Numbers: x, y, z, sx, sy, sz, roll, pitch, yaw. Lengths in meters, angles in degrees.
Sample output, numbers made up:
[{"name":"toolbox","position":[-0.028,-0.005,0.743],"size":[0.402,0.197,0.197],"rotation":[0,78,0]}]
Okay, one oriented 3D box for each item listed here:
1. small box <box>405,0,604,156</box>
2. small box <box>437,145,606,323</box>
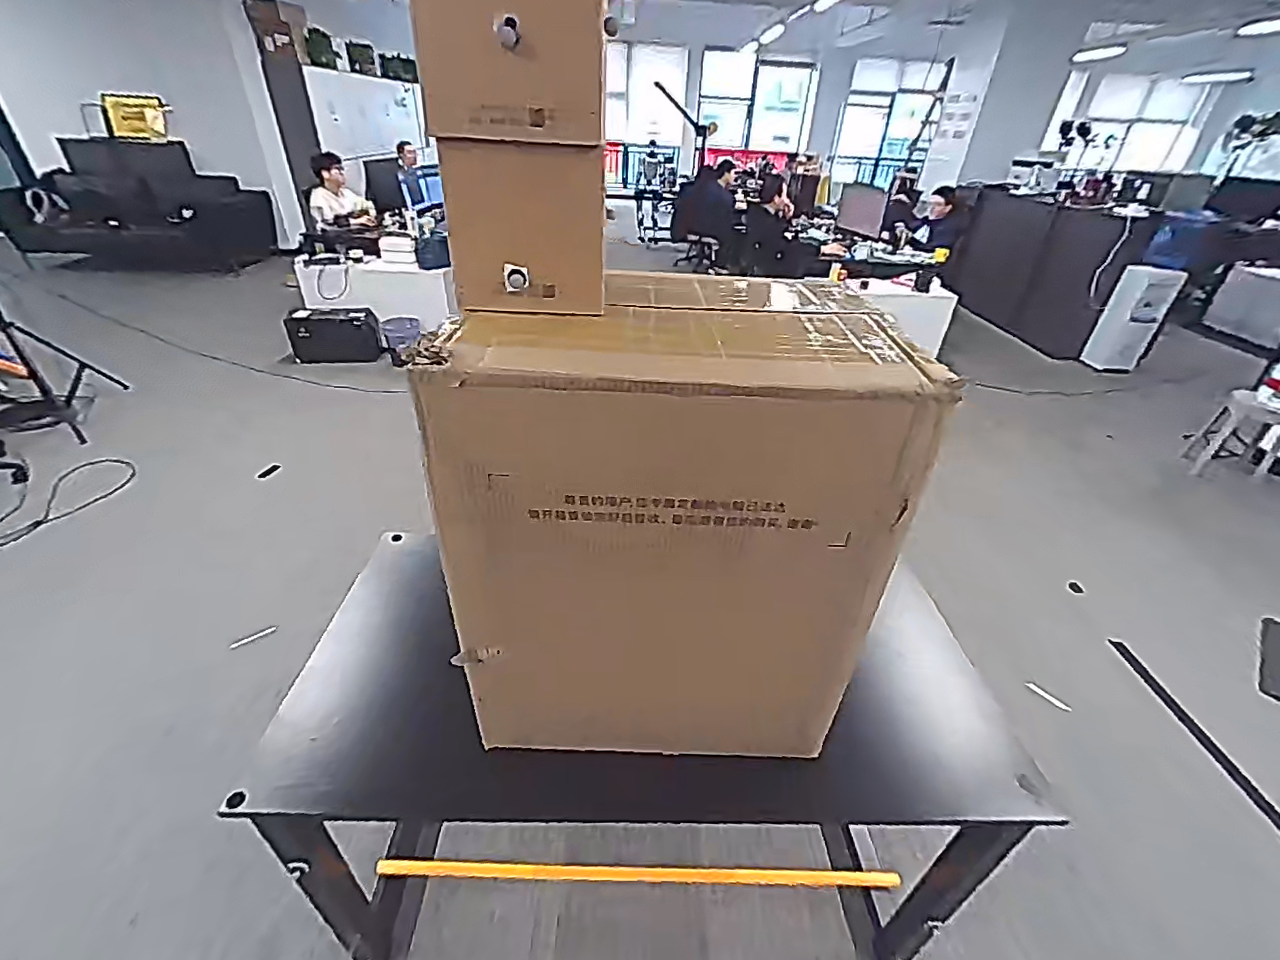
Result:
[{"name":"small box","position":[-0.121,-0.425,0.539],"size":[0.168,0.176,0.179],"rotation":[0,33,-4]},{"name":"small box","position":[-0.125,-0.295,0.641],"size":[0.168,0.176,0.179],"rotation":[-1,33,-5]}]
